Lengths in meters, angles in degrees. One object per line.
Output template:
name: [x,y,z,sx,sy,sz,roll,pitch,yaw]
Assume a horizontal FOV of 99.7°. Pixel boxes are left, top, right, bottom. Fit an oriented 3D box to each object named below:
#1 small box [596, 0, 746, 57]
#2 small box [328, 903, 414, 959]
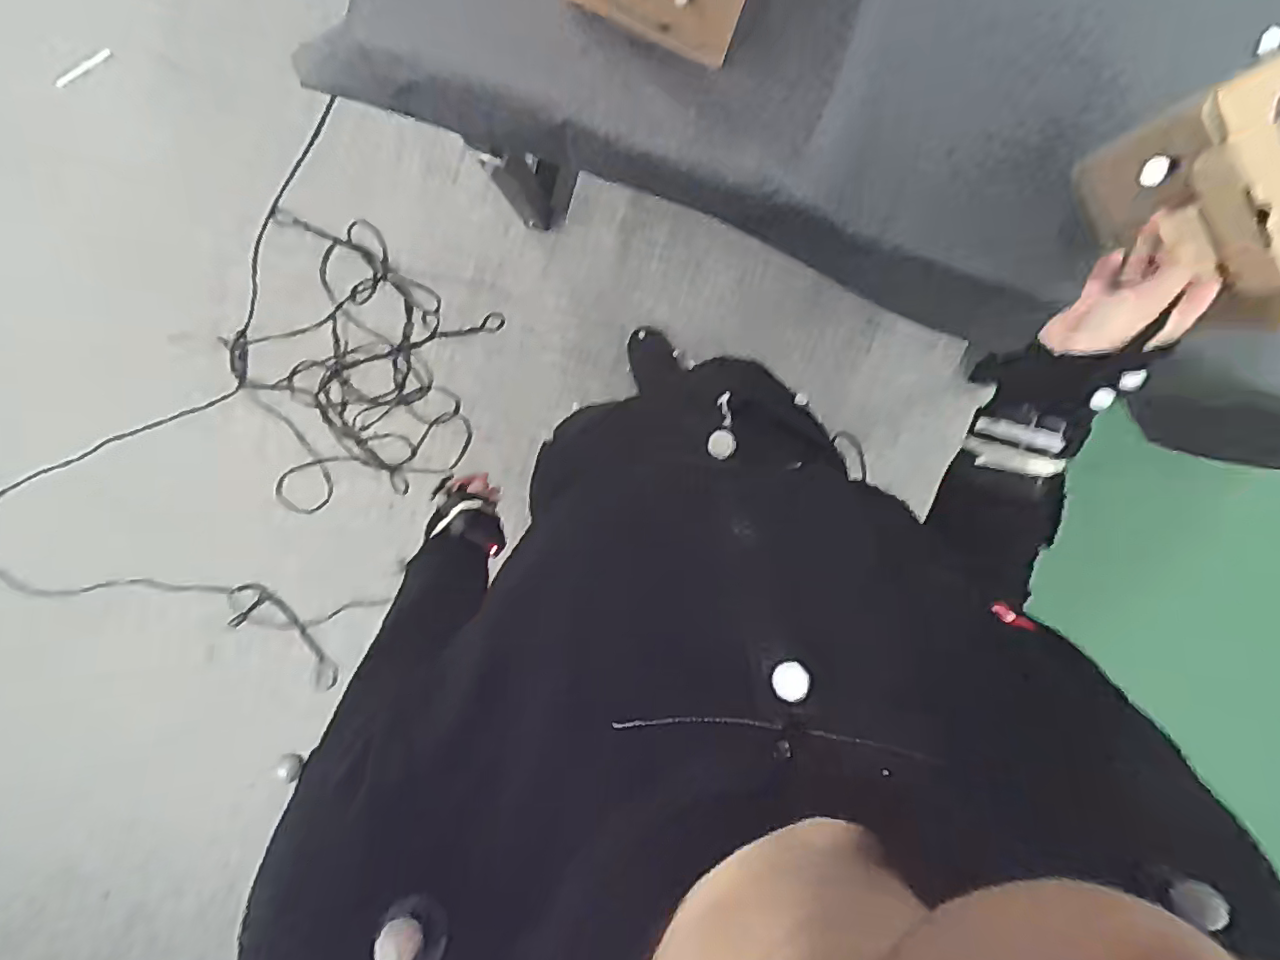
small box: [0.034,-0.483,0.414,0.168,0.176,0.179,20,99,-7]
small box: [-0.776,1.364,1.529,0.168,0.176,0.179,42,97,-9]
